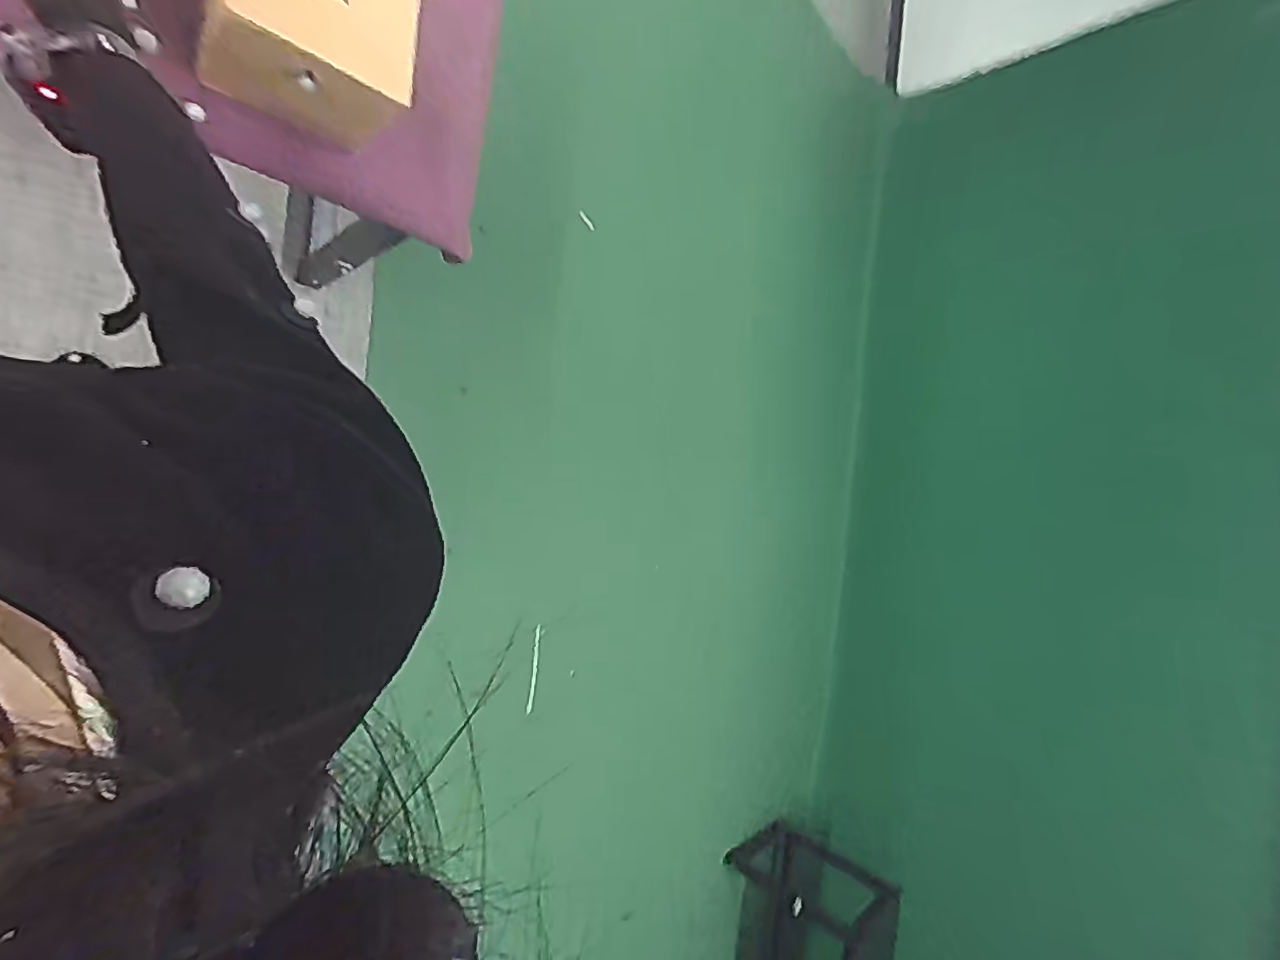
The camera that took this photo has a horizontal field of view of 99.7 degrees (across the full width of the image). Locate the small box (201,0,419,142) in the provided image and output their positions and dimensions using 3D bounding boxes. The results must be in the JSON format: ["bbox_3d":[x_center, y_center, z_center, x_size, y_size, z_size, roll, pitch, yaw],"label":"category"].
[{"bbox_3d":[-0.379,-0.527,0.623,0.179,0.176,0.168,5,93,-45],"label":"small box"}]
